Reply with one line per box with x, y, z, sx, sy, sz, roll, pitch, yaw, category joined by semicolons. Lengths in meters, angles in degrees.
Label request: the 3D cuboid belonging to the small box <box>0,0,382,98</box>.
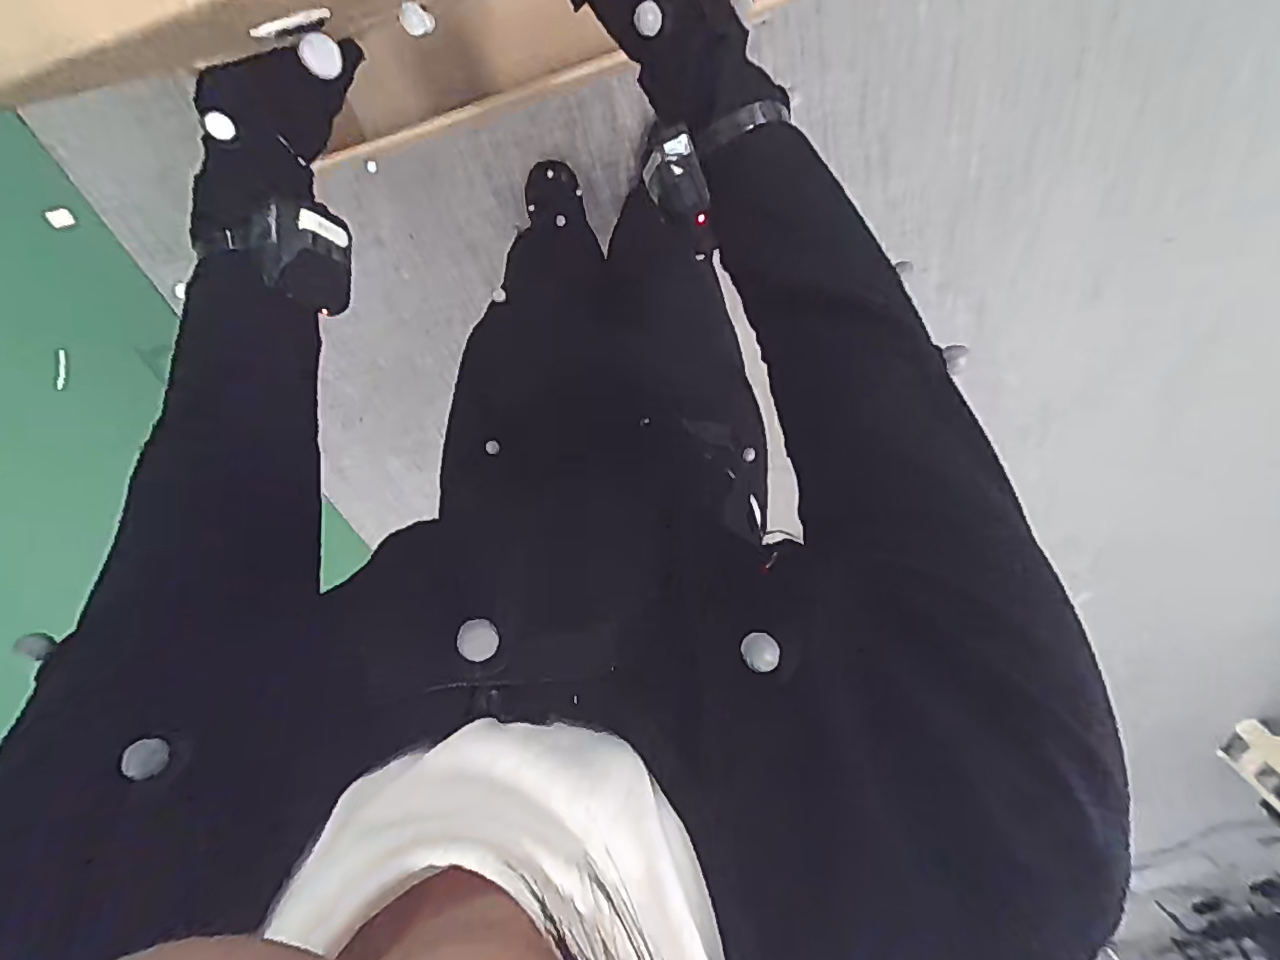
-0.142;-0.220;0.127;0.168;0.176;0.179;-13;133;10;small box

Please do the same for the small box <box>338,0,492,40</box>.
-0.160;-0.438;0.369;0.168;0.176;0.179;-14;131;11;small box

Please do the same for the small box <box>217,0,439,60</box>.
-0.154;-0.329;0.246;0.168;0.176;0.179;-14;133;10;small box
